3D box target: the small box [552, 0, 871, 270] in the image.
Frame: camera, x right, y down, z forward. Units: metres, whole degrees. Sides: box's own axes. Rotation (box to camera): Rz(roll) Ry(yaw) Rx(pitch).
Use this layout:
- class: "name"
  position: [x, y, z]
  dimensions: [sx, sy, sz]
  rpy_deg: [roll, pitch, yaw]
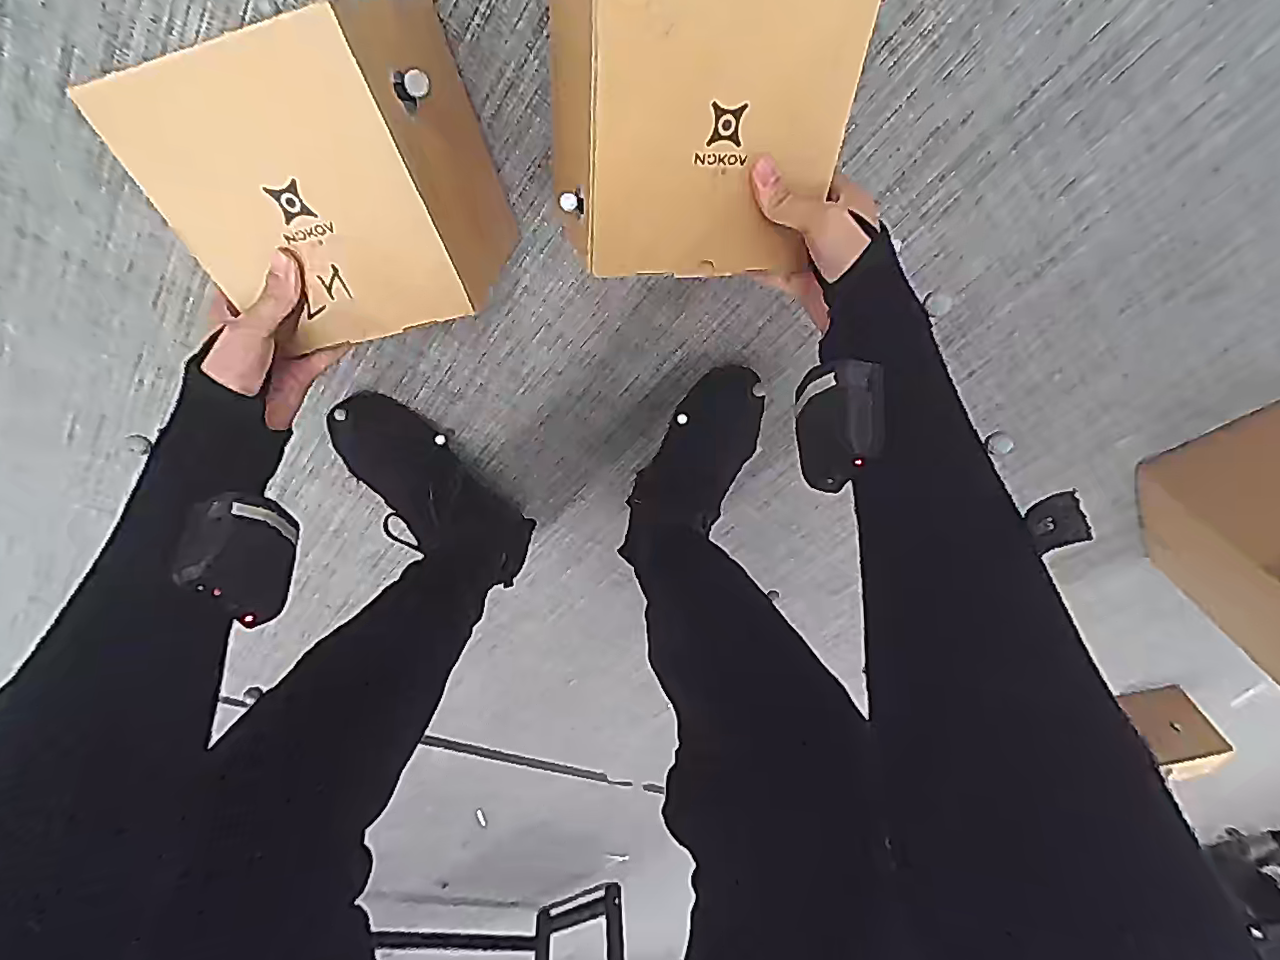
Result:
- class: "small box"
  position: [0.030, -0.272, 0.391]
  dimensions: [0.168, 0.176, 0.179]
  rpy_deg: [-7, 133, -12]

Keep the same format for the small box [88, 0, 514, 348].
- class: "small box"
  position: [-0.212, -0.229, 0.402]
  dimensions: [0.168, 0.176, 0.179]
  rpy_deg: [-9, 133, 10]

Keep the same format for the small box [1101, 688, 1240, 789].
- class: "small box"
  position: [1.352, 0.666, 1.397]
  dimensions: [0.179, 0.176, 0.168]
  rpy_deg: [-17, 131, 8]
